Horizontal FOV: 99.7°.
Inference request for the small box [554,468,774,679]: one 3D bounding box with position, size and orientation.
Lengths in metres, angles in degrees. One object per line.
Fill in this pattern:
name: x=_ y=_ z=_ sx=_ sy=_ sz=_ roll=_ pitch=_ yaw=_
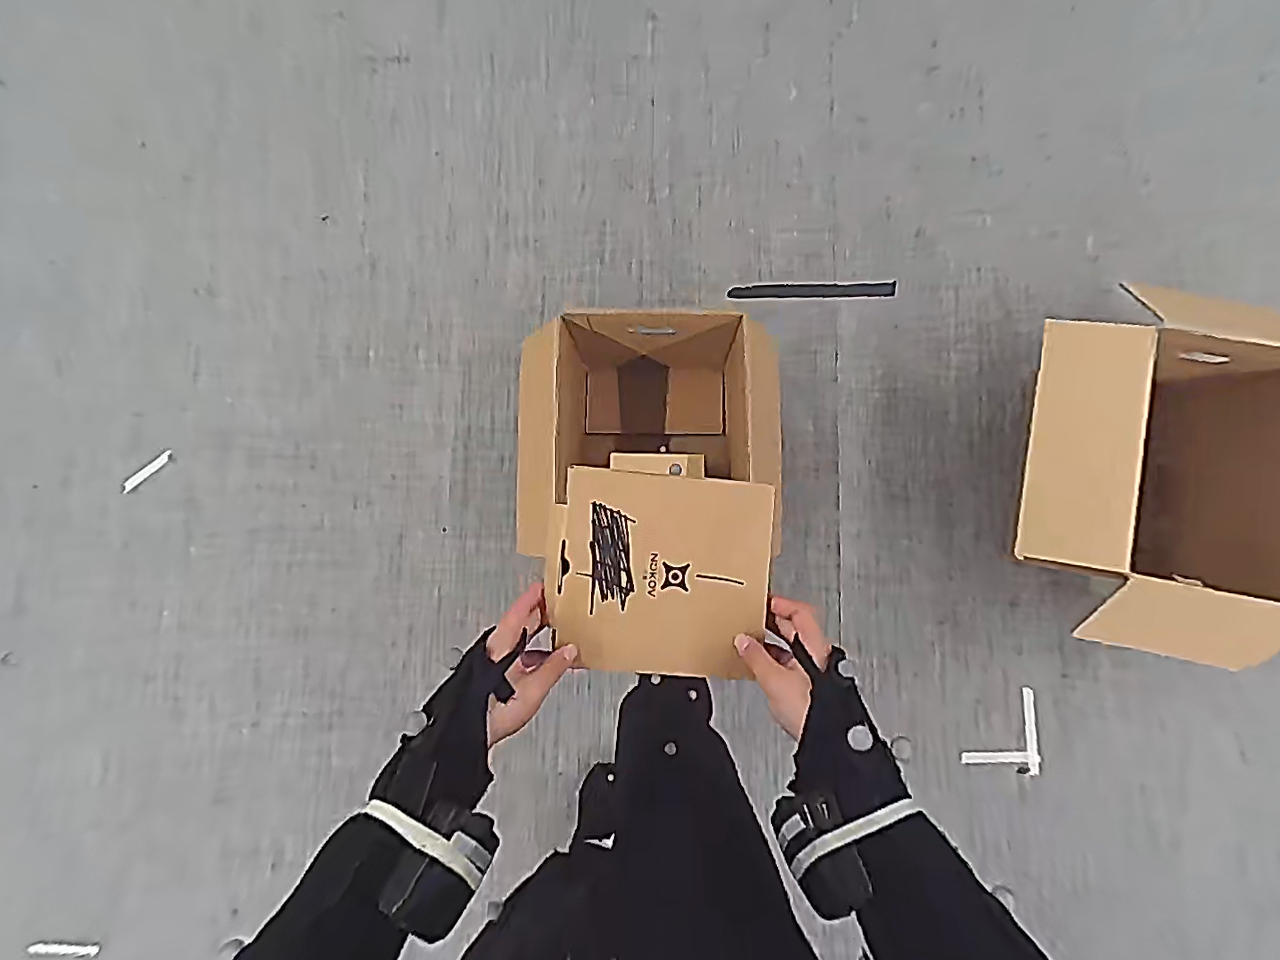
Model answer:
small box: x=0.019 y=0.083 z=0.536 sx=0.179 sy=0.176 sz=0.168 roll=5 pitch=87 yaw=-2
